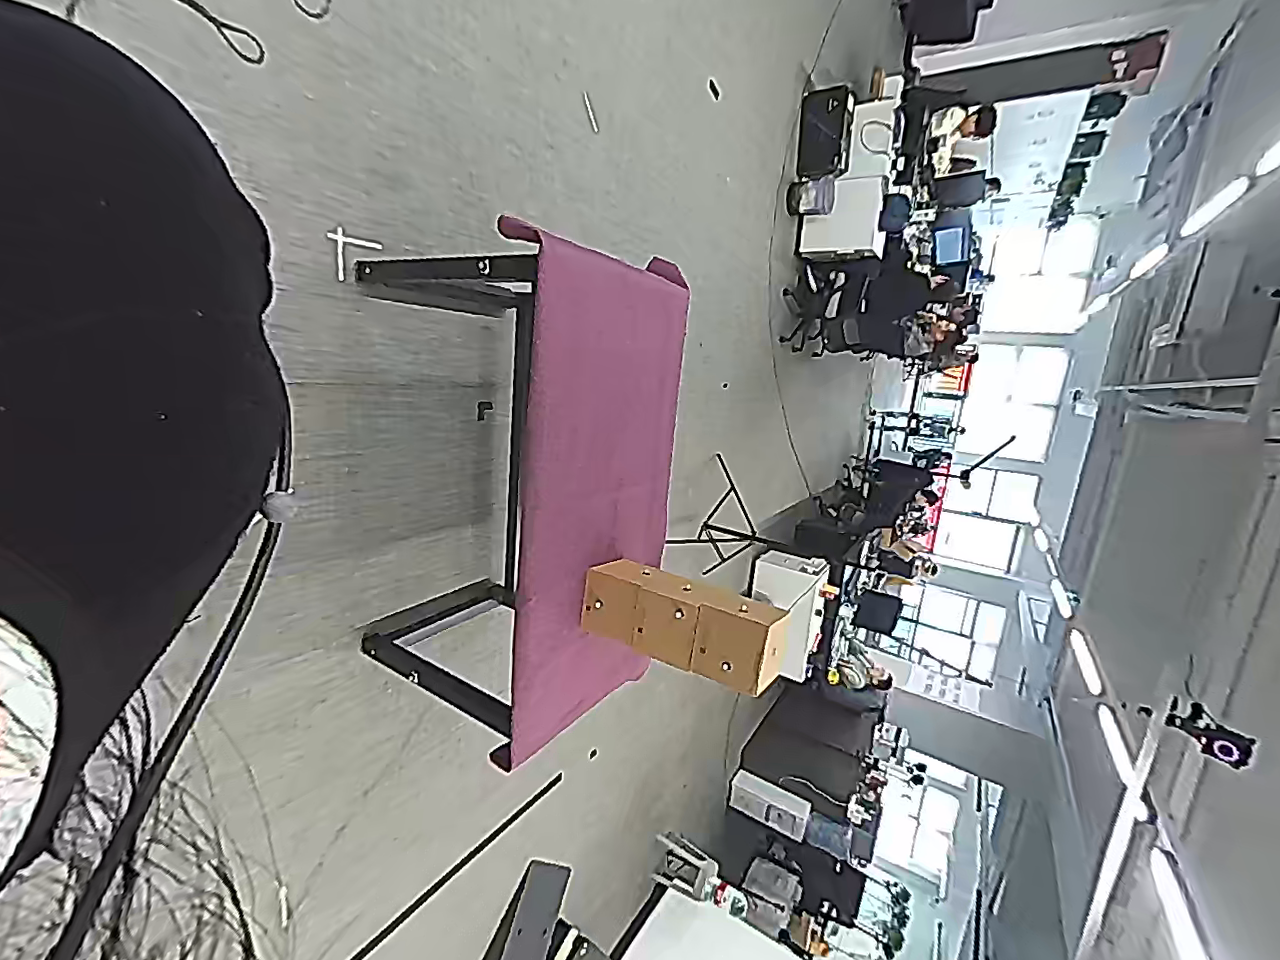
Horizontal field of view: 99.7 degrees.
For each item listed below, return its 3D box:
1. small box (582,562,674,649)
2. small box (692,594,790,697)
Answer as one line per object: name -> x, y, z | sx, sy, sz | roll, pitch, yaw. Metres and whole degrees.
small box -> -0.032, 0.328, 1.457 | 0.179, 0.176, 0.168 | -2, 102, -58
small box -> 0.240, 0.383, 1.284 | 0.179, 0.176, 0.168 | 0, 101, -60
